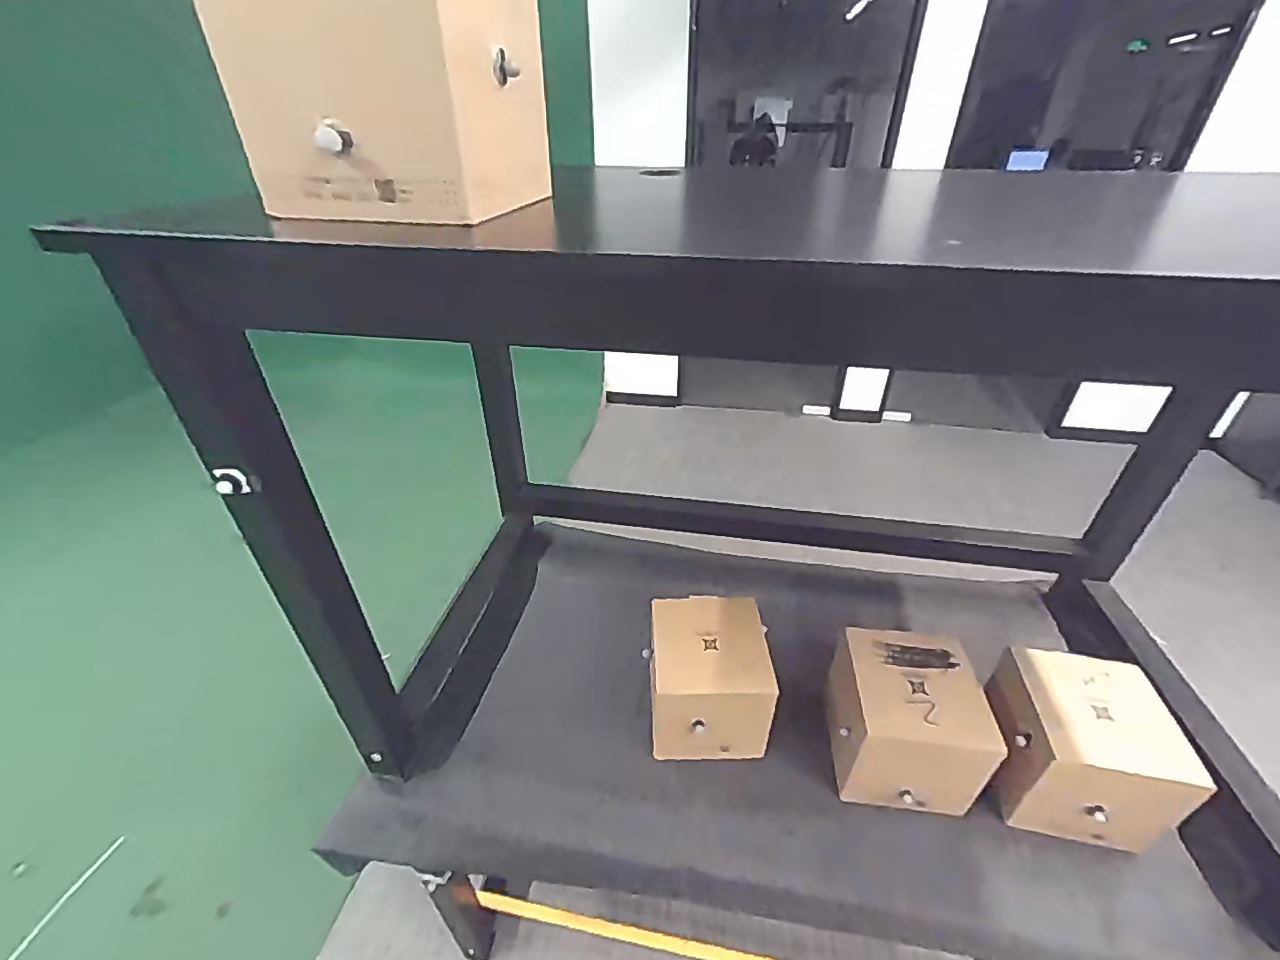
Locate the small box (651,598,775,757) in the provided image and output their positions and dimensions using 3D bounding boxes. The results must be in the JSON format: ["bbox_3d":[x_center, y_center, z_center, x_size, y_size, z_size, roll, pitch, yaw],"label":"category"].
[{"bbox_3d":[0.102,0.305,0.835,0.168,0.176,0.179,0,33,-1],"label":"small box"}]

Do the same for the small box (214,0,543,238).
[{"bbox_3d":[-0.182,-0.297,0.421,0.168,0.176,0.179,6,35,9],"label":"small box"}]
